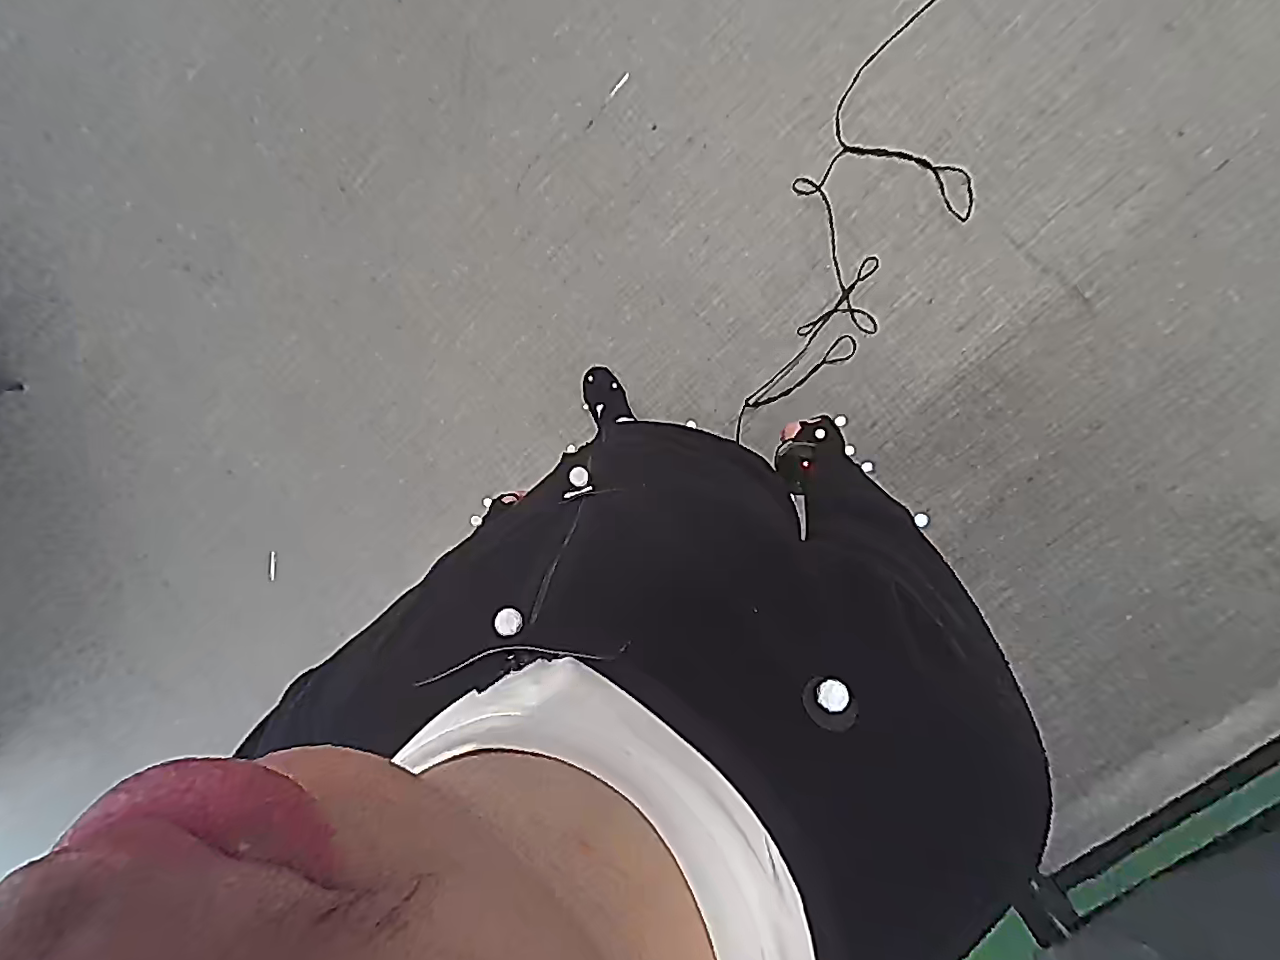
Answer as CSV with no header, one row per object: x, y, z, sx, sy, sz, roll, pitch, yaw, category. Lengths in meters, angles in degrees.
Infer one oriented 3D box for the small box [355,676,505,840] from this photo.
-0.374,0.505,1.006,0.179,0.176,0.168,-42,93,10,small box
